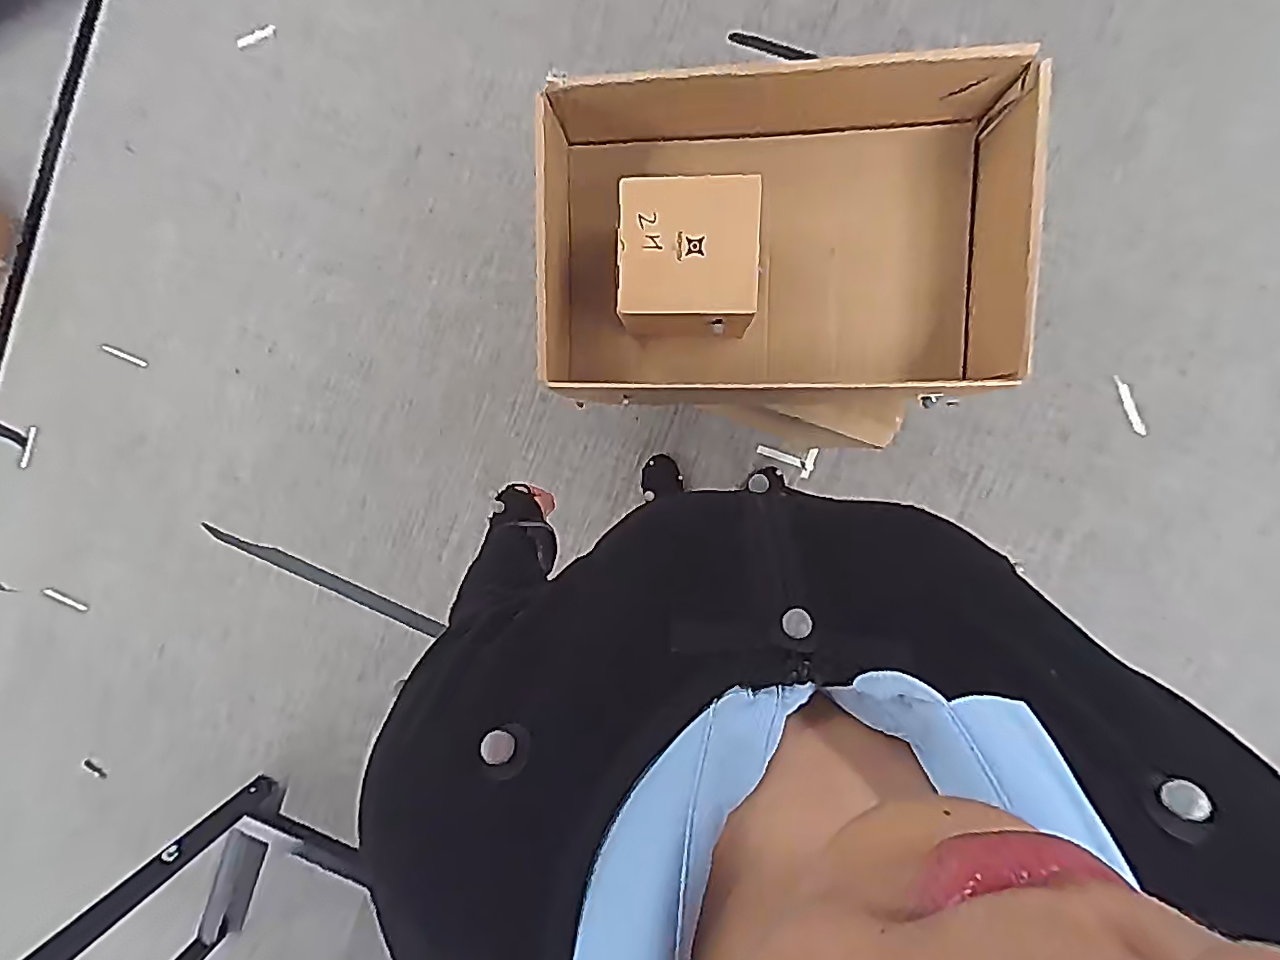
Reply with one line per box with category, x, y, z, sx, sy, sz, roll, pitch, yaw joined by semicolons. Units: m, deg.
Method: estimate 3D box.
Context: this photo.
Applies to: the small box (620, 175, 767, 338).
small box;0.069;-0.295;0.742;0.179;0.176;0.168;2;94;4
